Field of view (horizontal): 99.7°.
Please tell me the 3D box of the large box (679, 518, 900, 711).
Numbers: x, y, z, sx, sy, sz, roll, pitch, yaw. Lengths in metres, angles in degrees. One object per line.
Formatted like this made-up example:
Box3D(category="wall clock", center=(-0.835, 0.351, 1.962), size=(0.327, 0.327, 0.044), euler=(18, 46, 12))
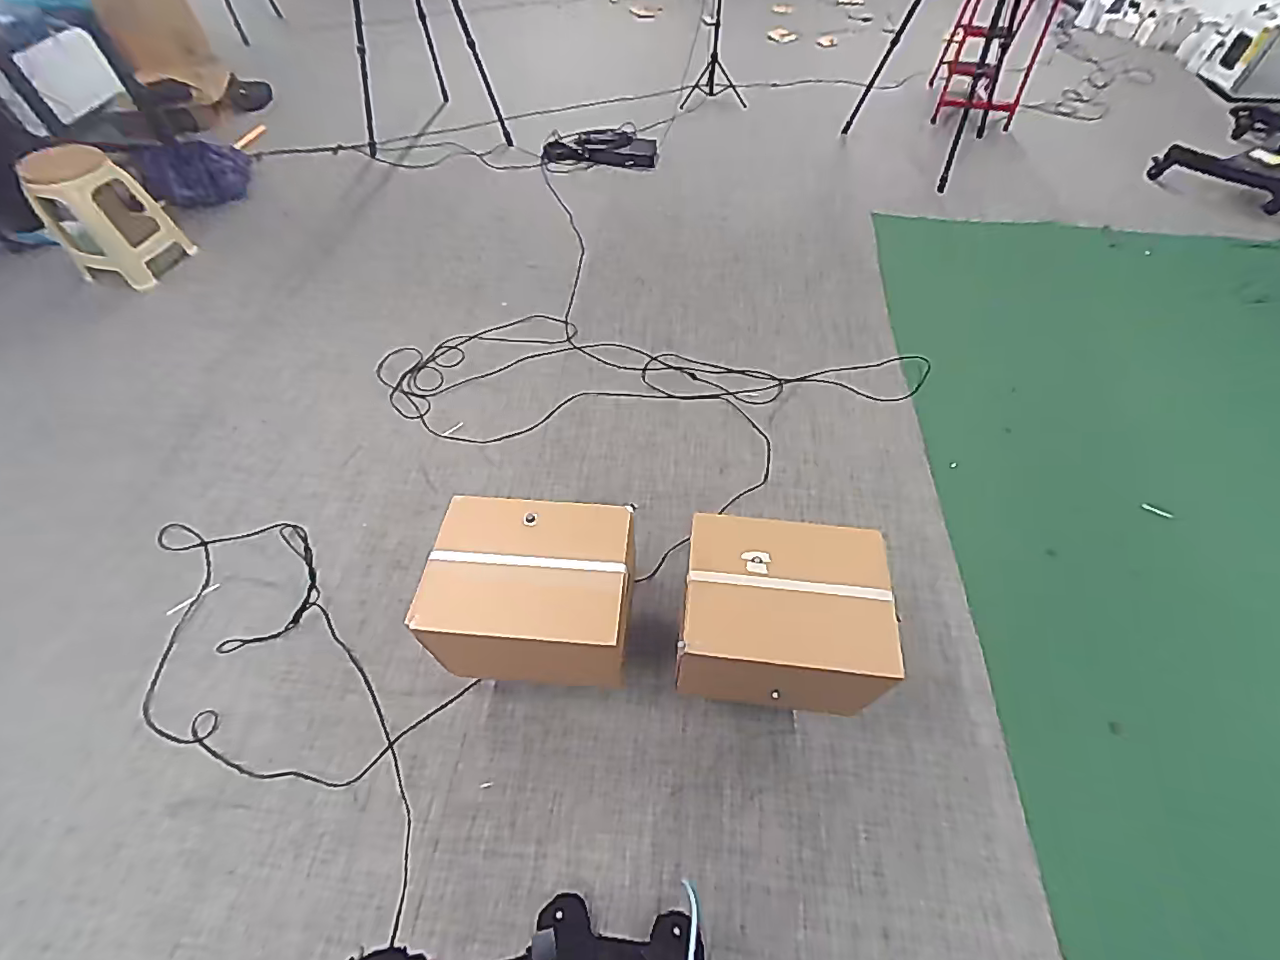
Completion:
Box3D(category="large box", center=(0.304, 0.310, 1.214), size=(0.408, 0.320, 0.320), euler=(6, 54, 5))
